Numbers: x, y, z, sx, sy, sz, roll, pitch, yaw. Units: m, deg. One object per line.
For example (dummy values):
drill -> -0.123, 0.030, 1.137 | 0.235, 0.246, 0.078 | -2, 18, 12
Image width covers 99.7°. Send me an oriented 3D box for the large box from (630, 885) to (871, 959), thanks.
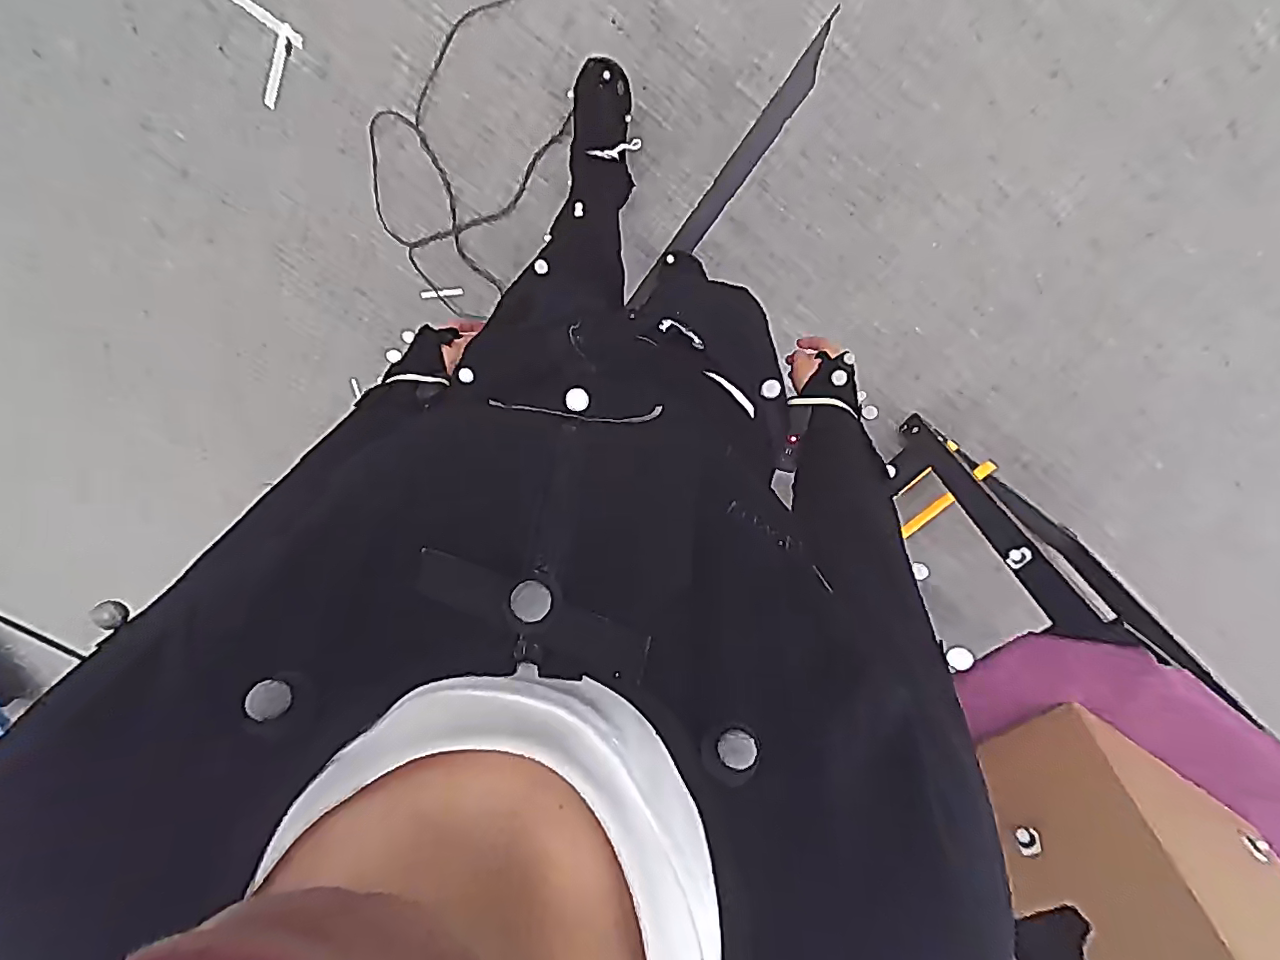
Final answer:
large box -> 0.214, 1.038, 1.003 | 0.408, 0.320, 0.320 | 33, 118, -13
